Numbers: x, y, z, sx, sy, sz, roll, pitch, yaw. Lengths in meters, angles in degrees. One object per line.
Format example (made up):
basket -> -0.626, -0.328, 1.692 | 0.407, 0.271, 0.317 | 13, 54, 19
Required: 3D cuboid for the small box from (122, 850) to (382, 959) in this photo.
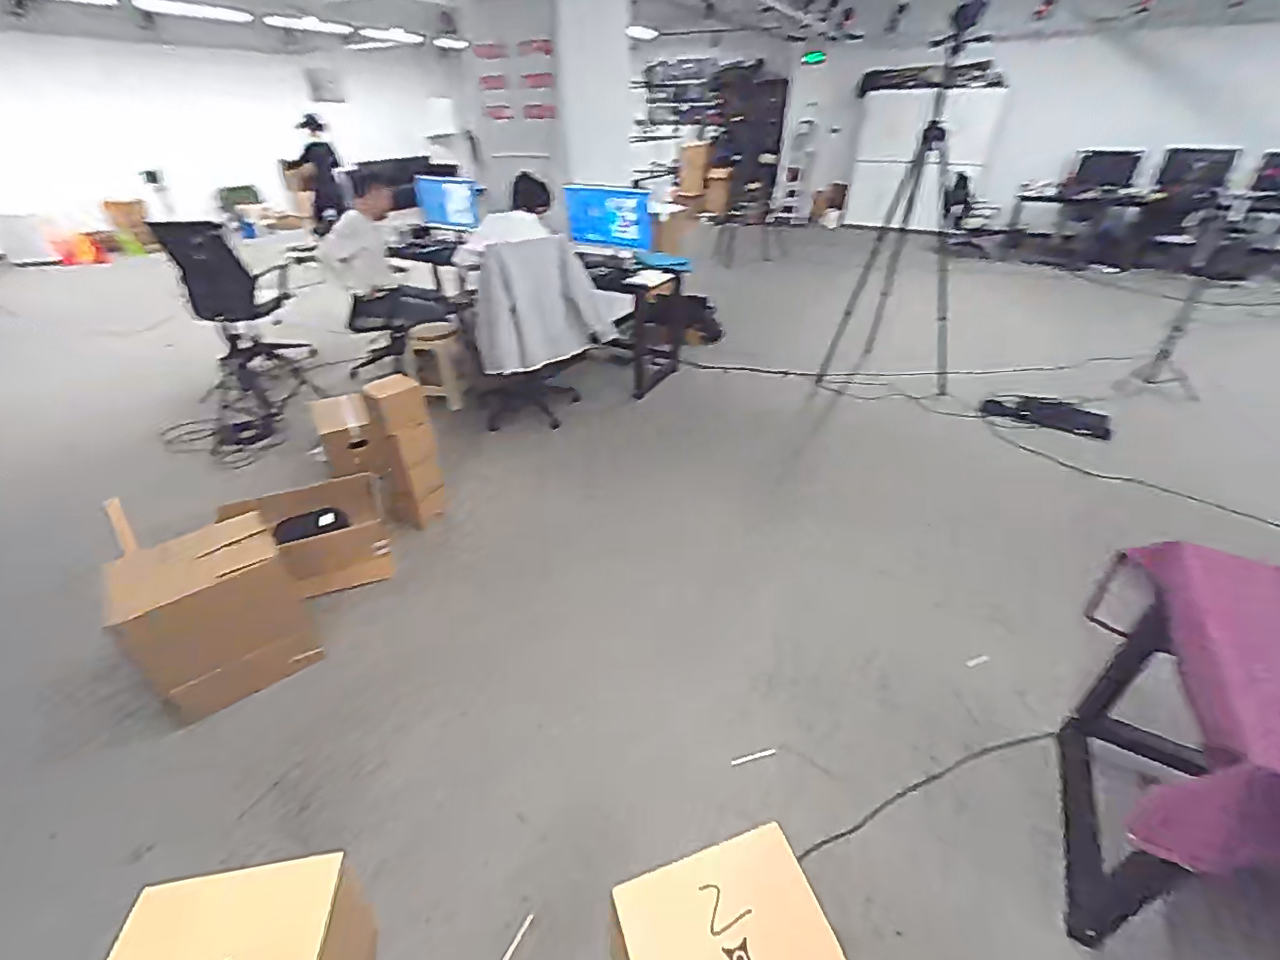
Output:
small box -> -0.335, 0.465, 0.463 | 0.168, 0.176, 0.179 | -3, 30, -11
